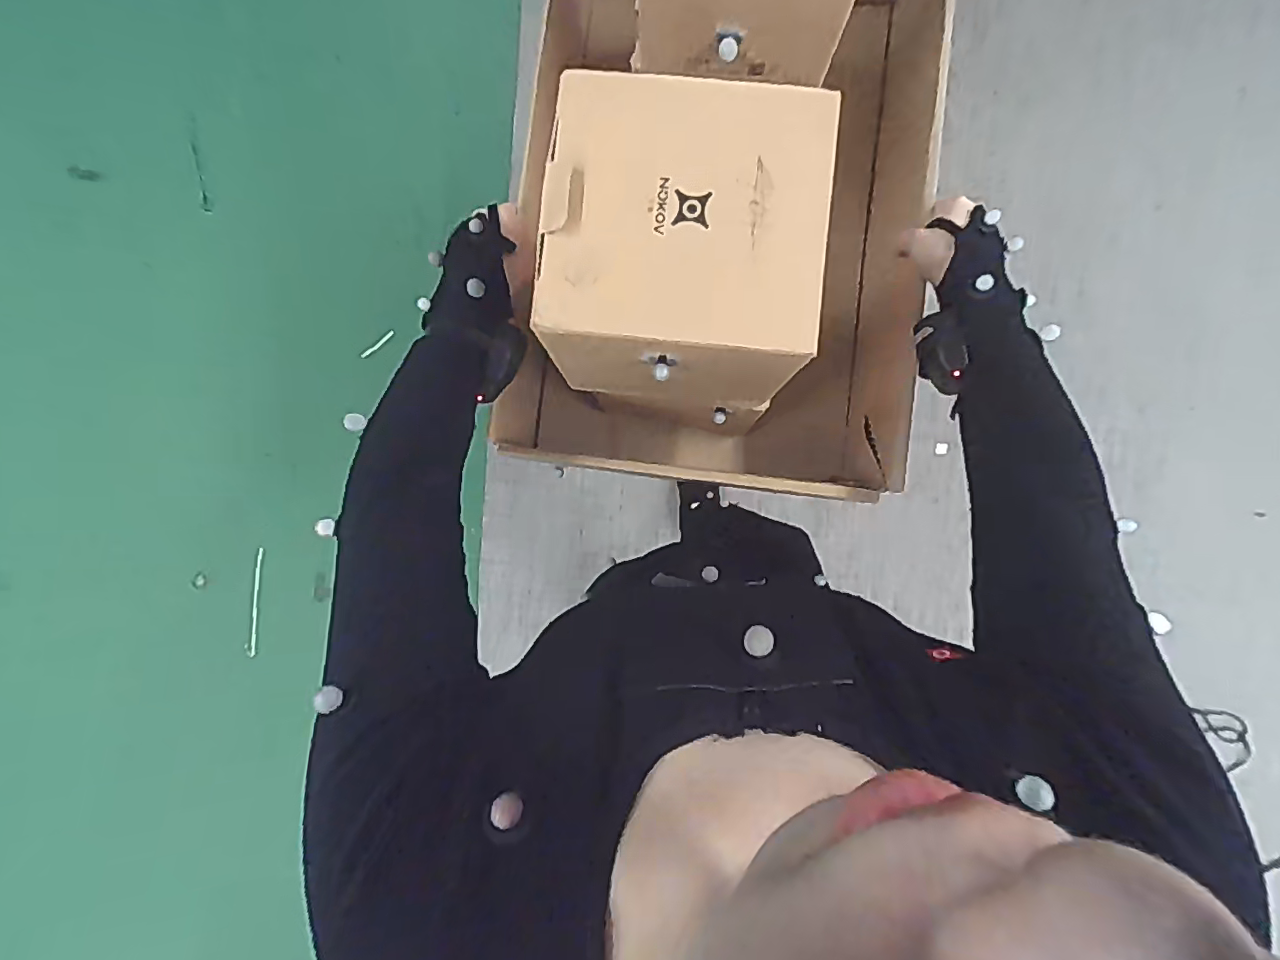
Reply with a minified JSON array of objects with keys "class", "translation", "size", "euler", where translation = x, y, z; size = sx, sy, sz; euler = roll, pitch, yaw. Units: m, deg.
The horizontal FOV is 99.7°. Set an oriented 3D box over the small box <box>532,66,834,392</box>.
[{"class":"small box","translation":[0.028,-0.169,0.416],"size":[0.179,0.176,0.168],"euler":[6,88,1]}]
